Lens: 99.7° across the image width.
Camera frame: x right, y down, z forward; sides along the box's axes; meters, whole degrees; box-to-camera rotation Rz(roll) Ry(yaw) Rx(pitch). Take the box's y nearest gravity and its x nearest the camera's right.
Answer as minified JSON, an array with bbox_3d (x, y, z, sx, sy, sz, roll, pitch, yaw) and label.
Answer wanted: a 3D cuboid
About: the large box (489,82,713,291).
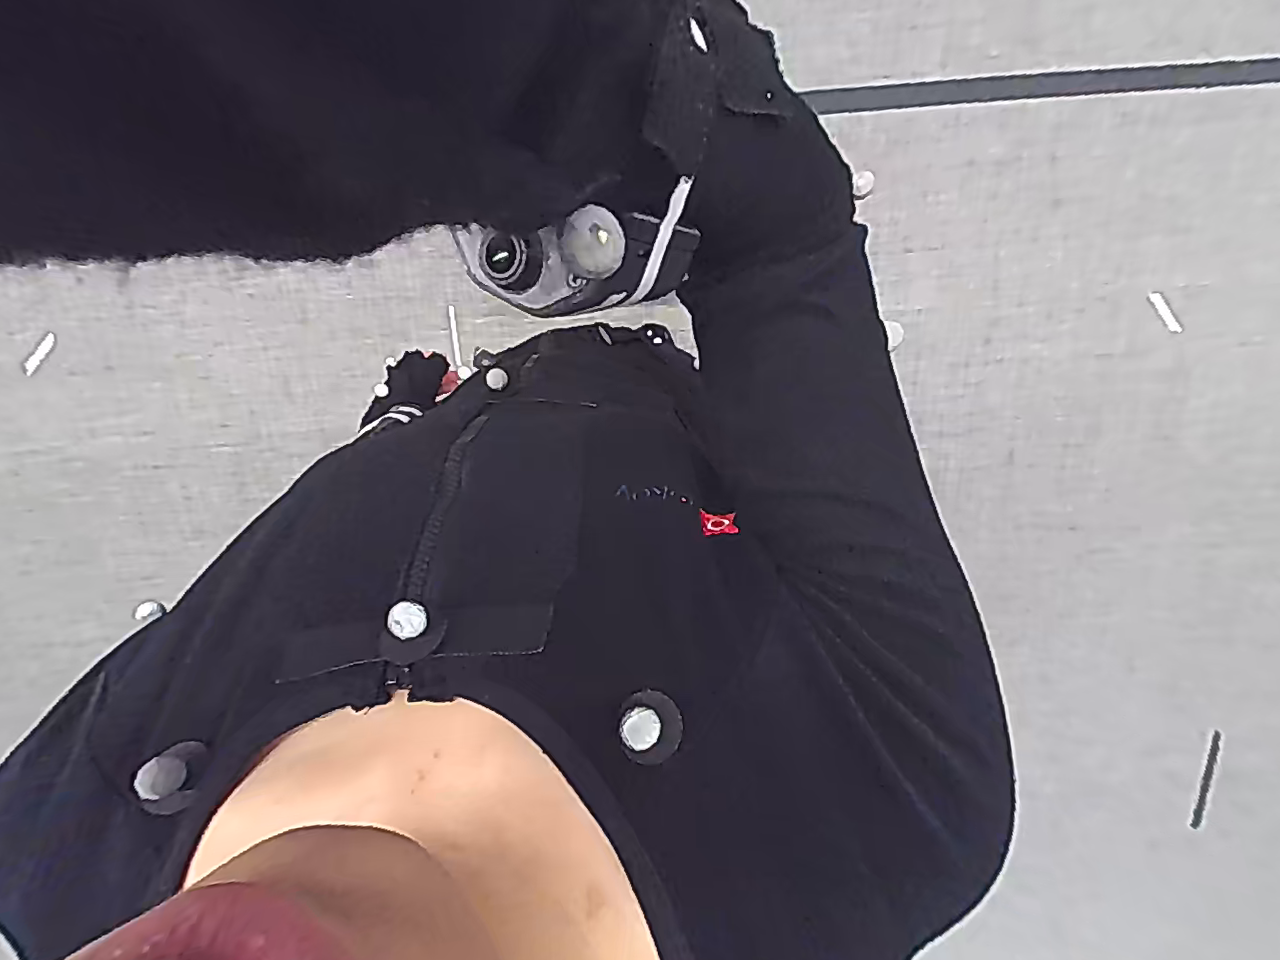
[{"bbox_3d":[-0.071,-0.602,1.174,0.408,0.320,0.320,-5,106,0],"label":"large box"}]
